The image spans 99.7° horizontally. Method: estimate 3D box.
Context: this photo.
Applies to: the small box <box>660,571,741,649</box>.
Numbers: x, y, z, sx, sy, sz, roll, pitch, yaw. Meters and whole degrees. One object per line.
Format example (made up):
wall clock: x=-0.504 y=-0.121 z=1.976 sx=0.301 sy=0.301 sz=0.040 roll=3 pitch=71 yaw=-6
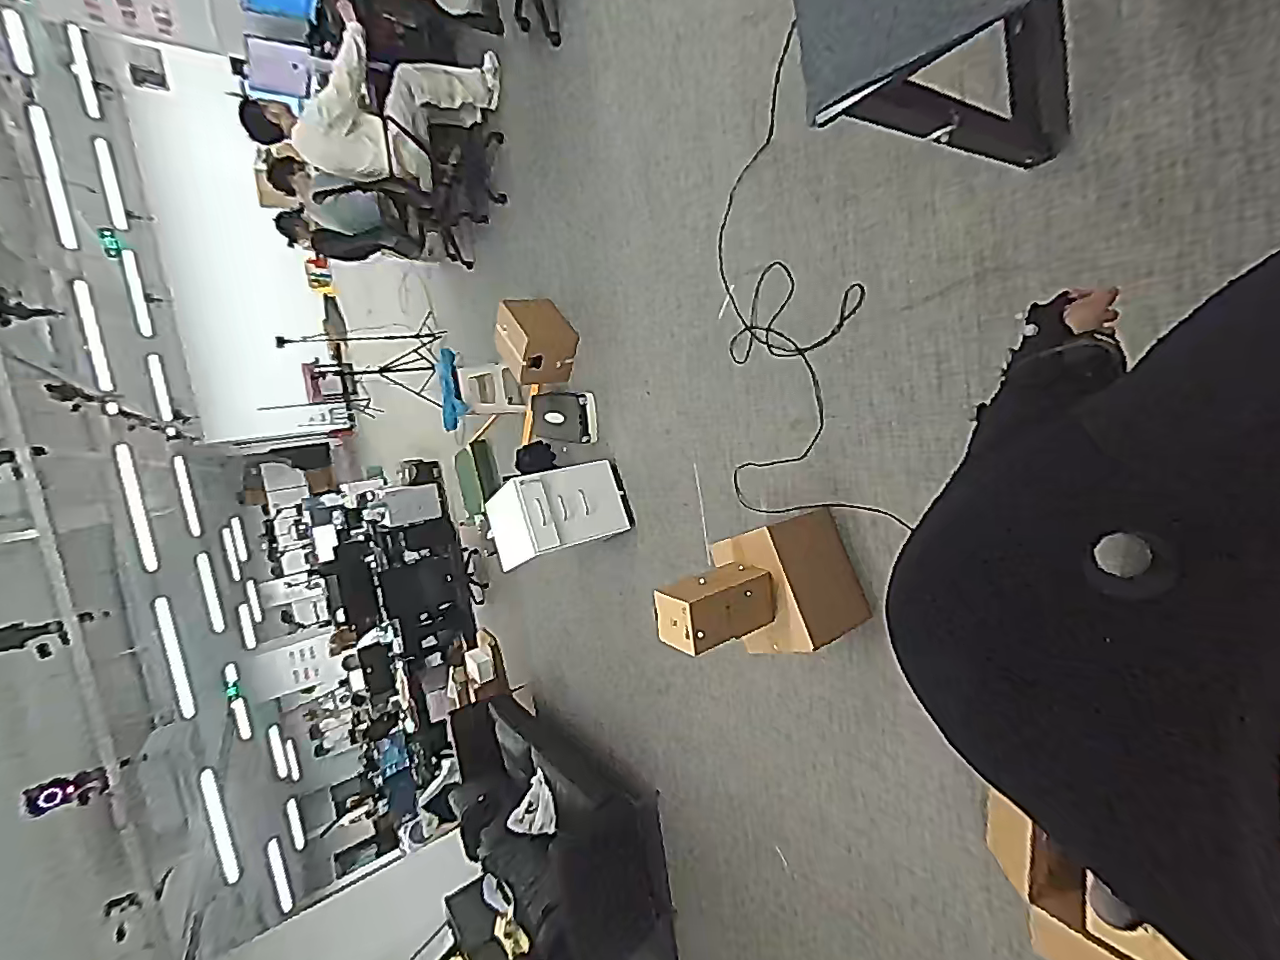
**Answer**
small box: x=0.186 y=0.391 z=1.662 sx=0.179 sy=0.176 sz=0.168 roll=6 pitch=107 yaw=57
